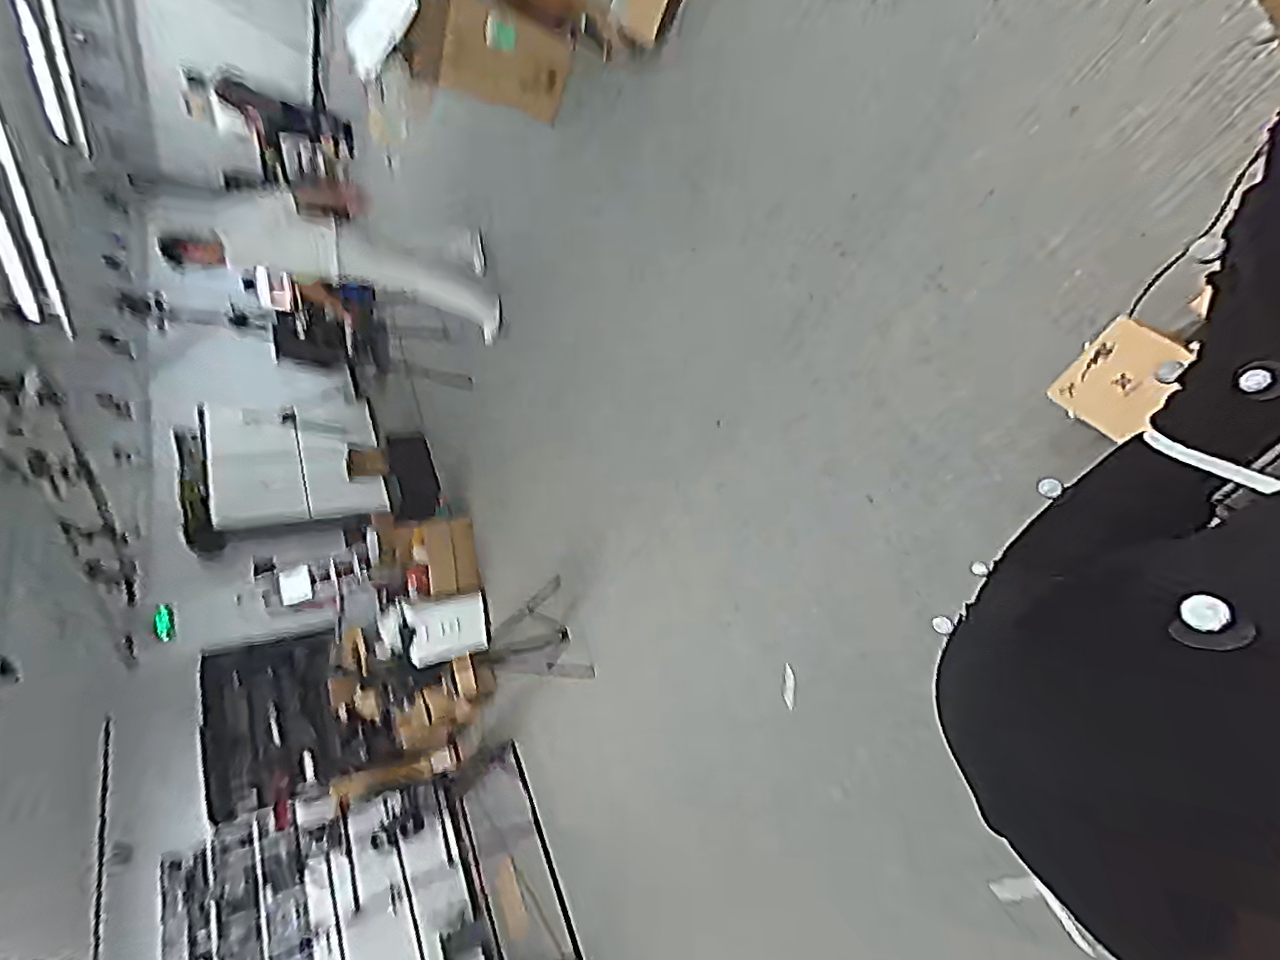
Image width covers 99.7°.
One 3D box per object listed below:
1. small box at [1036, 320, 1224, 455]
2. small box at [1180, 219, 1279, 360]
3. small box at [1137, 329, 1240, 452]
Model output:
[{"bbox_3d":[0.877,-0.167,0.969,0.179,0.176,0.168,54,133,33],"label":"small box"},{"bbox_3d":[1.100,-0.315,0.924,0.179,0.176,0.168,54,134,33],"label":"small box"},{"bbox_3d":[1.011,-0.176,1.065,0.179,0.176,0.168,58,136,31],"label":"small box"}]
